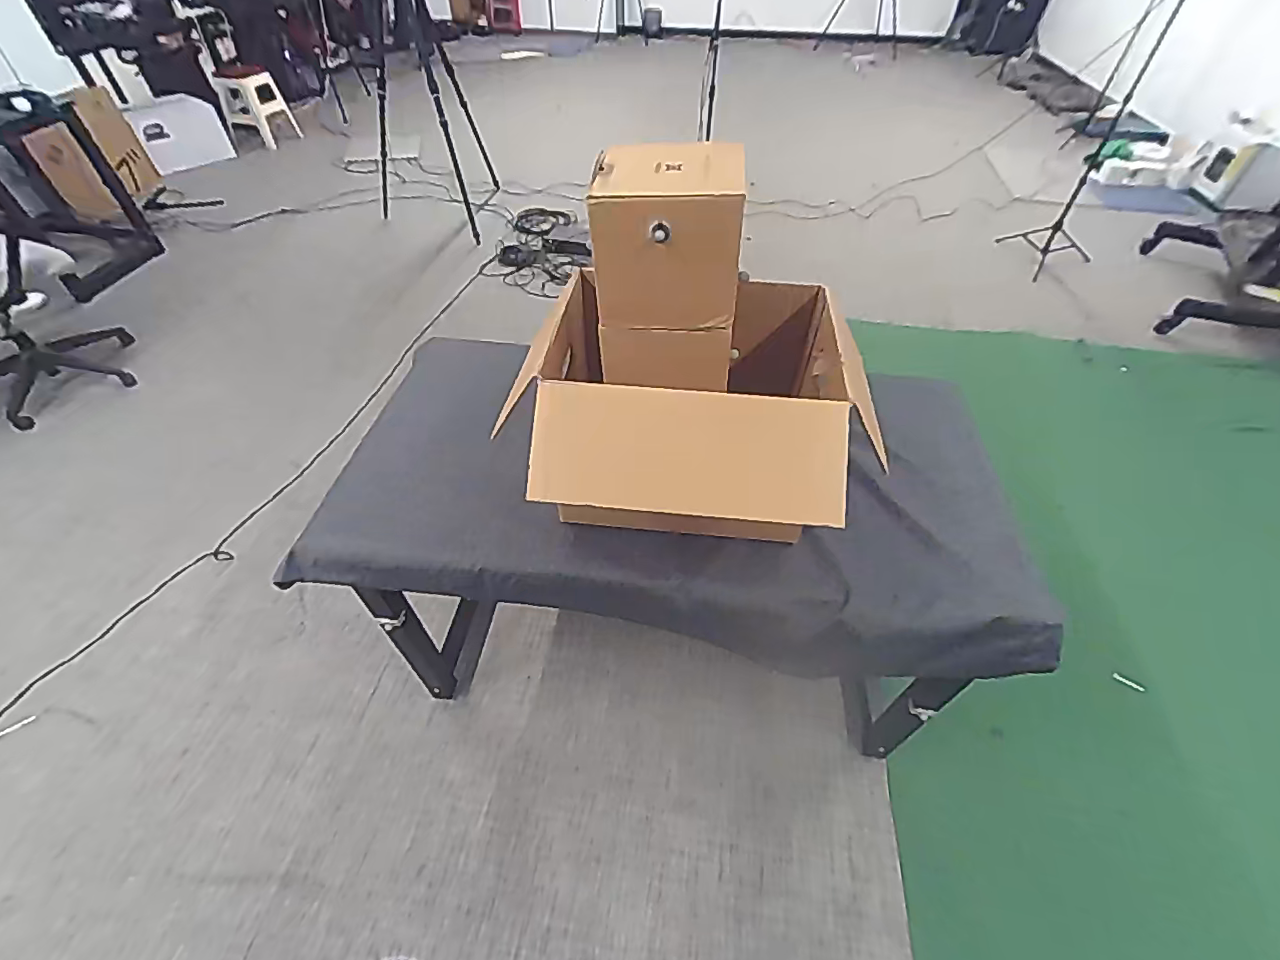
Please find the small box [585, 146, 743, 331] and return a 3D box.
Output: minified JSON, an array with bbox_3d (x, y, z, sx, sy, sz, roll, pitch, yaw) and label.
[{"bbox_3d":[0.036,-0.308,0.697,0.179,0.176,0.168,3,50,5],"label":"small box"}]
